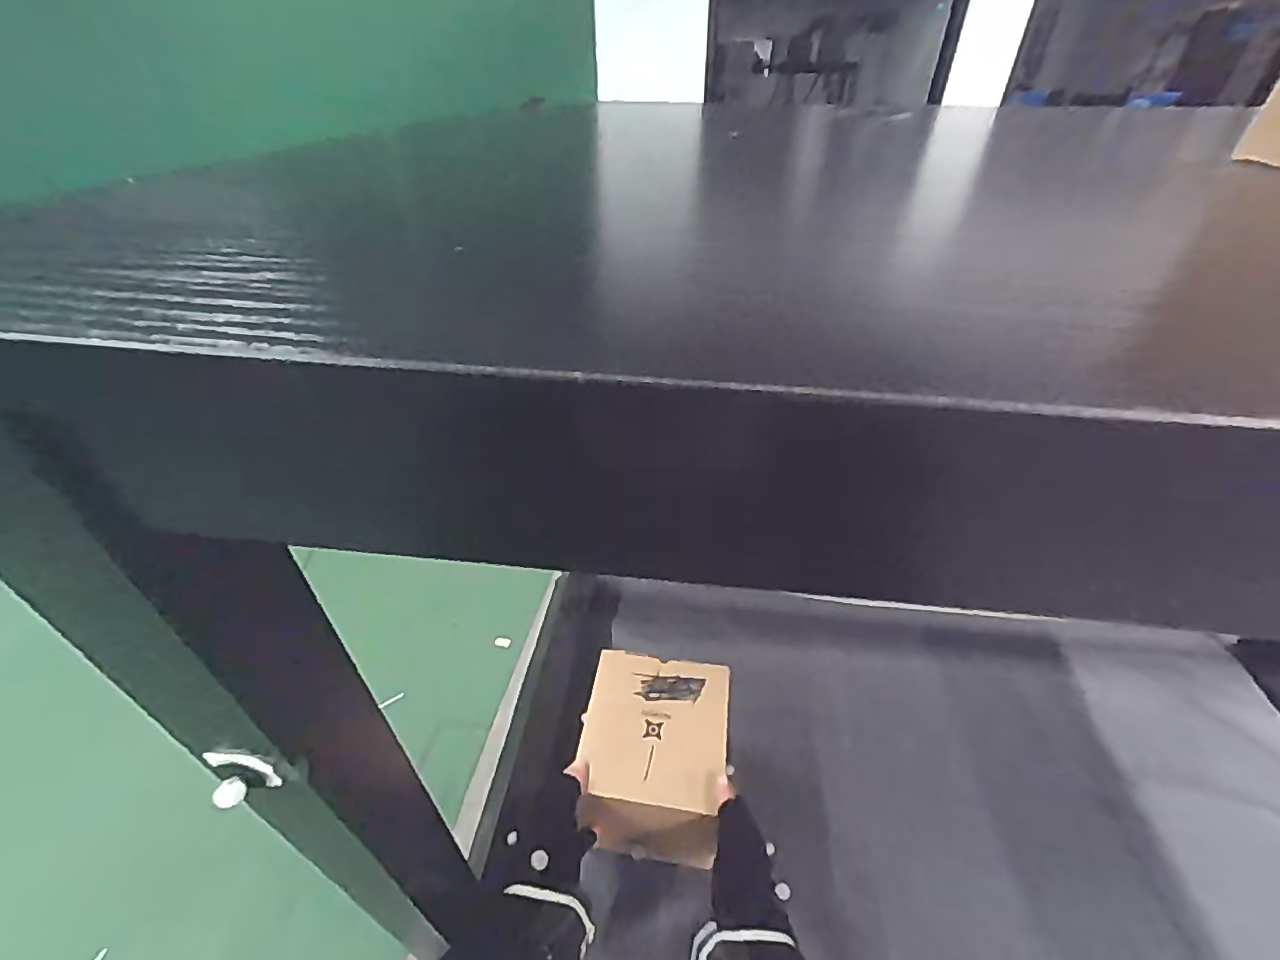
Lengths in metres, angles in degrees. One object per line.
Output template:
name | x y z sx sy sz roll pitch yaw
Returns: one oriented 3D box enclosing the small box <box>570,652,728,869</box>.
small box | 0.017 0.348 0.679 0.168 0.176 0.179 5 40 7
